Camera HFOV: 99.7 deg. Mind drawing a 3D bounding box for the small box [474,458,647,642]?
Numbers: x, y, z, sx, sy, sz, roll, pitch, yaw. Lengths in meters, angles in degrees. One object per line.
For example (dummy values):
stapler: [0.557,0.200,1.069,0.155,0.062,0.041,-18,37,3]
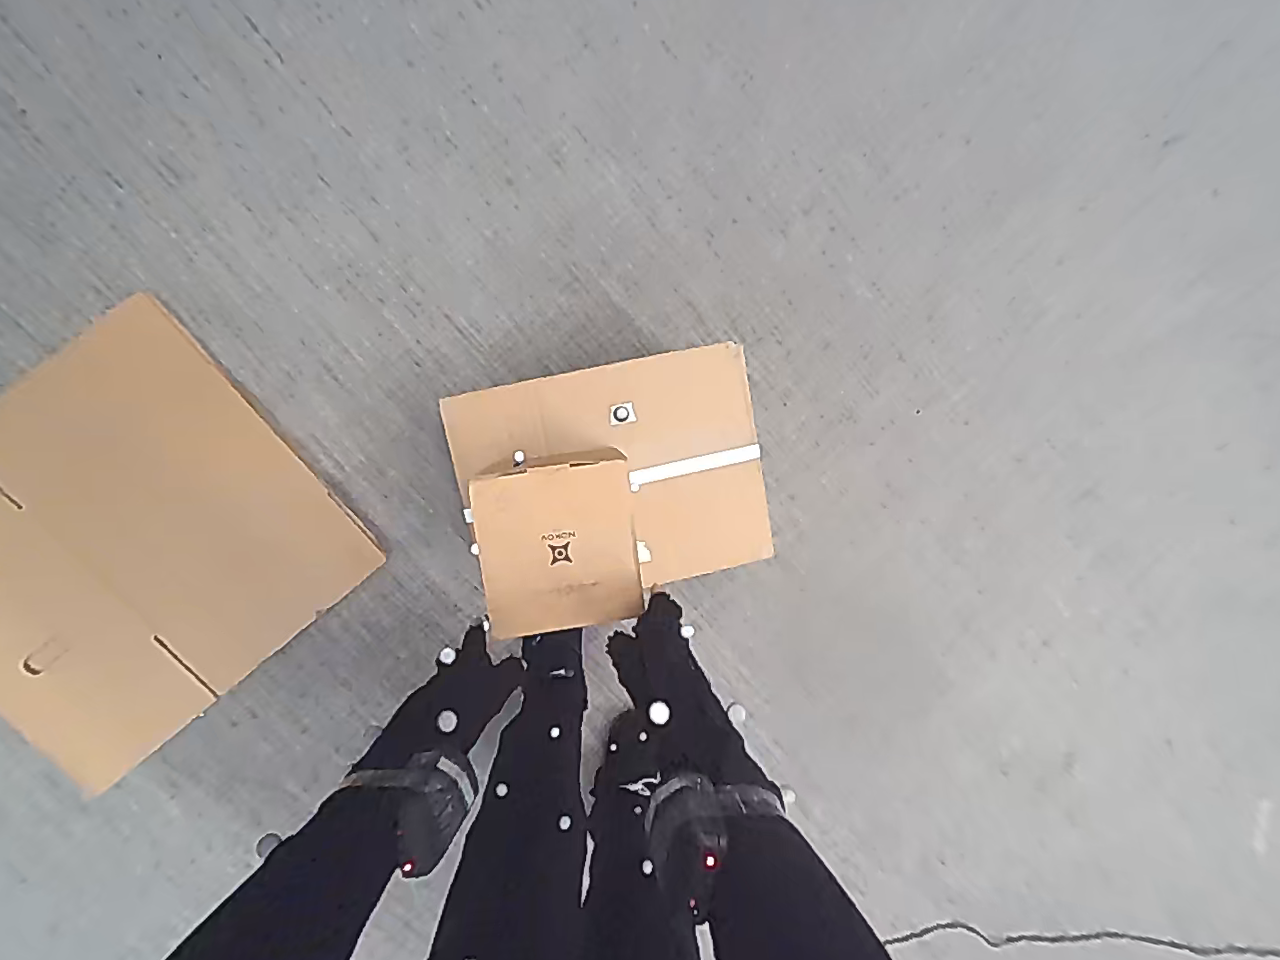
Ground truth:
small box: [-0.091,0.070,0.654,0.168,0.176,0.179,-9,98,-4]
